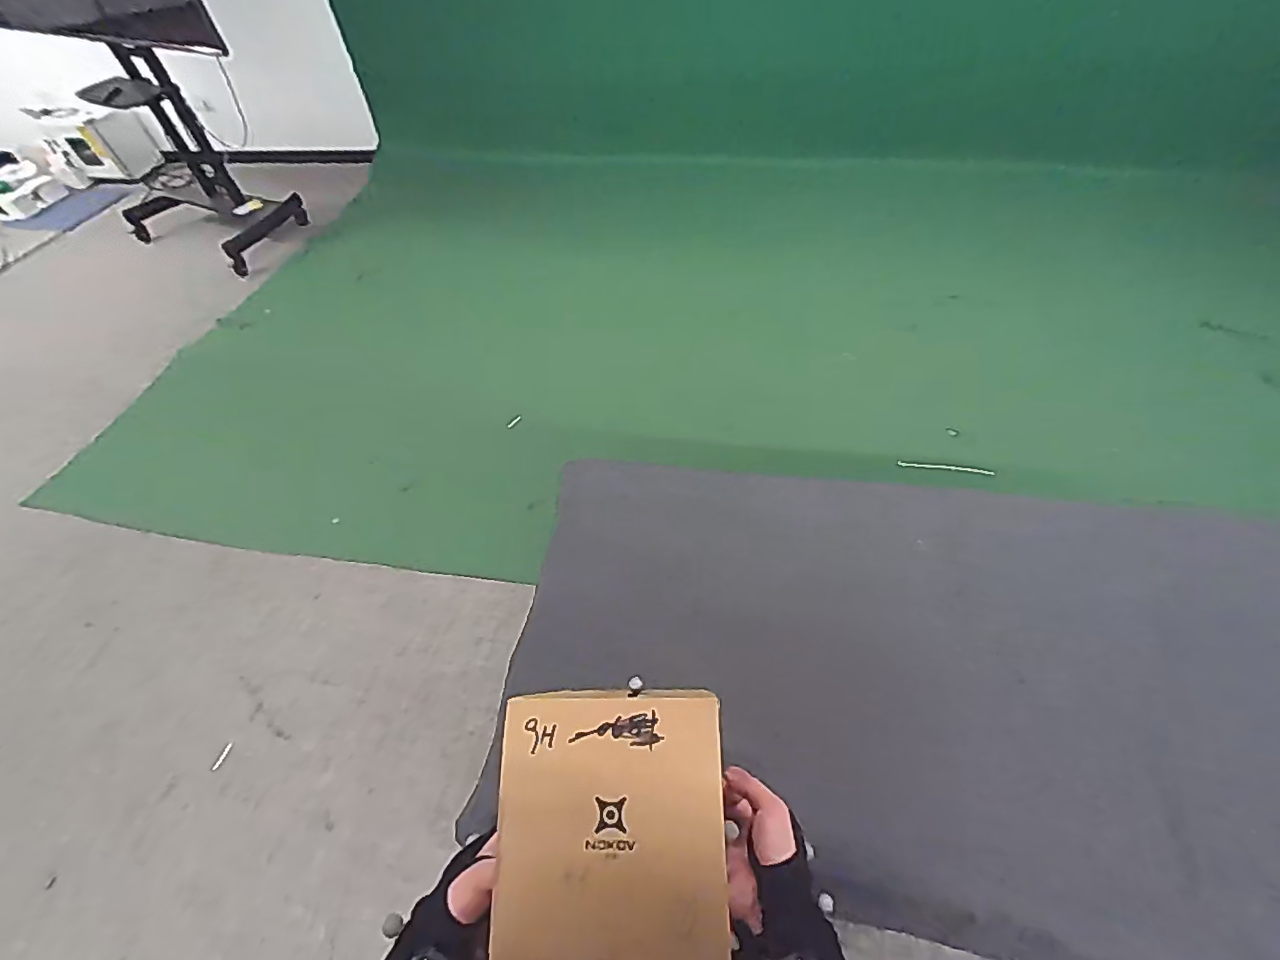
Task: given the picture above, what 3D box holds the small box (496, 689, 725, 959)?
[{"bbox_3d":[-0.014,0.283,0.473,0.168,0.176,0.179,-1,72,4],"label":"small box"}]
